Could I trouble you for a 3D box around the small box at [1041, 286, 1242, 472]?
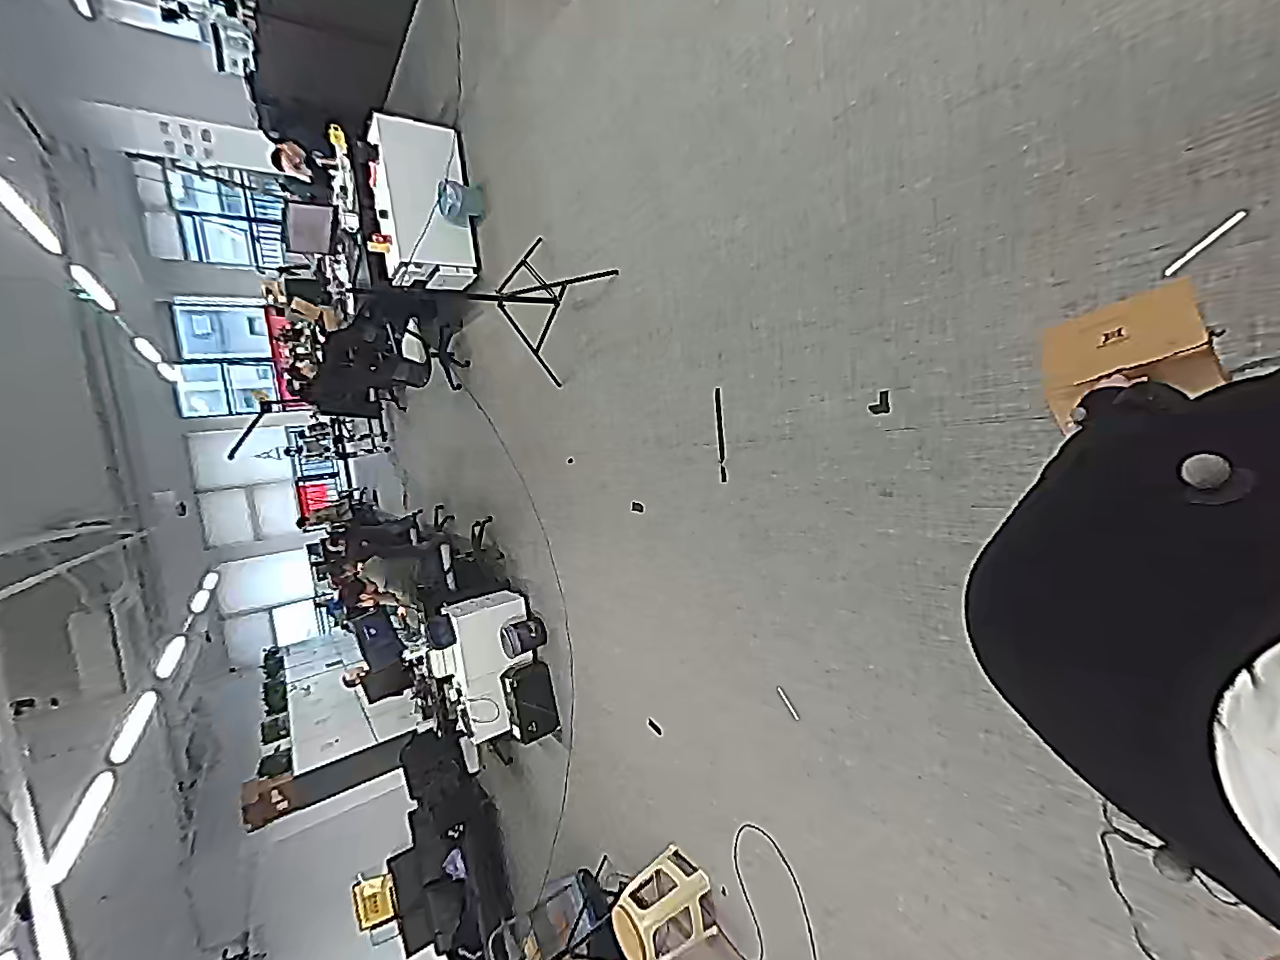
[{"bbox_3d":[0.693,-0.129,0.759,0.168,0.179,0.176,-20,116,47],"label":"small box"}]
